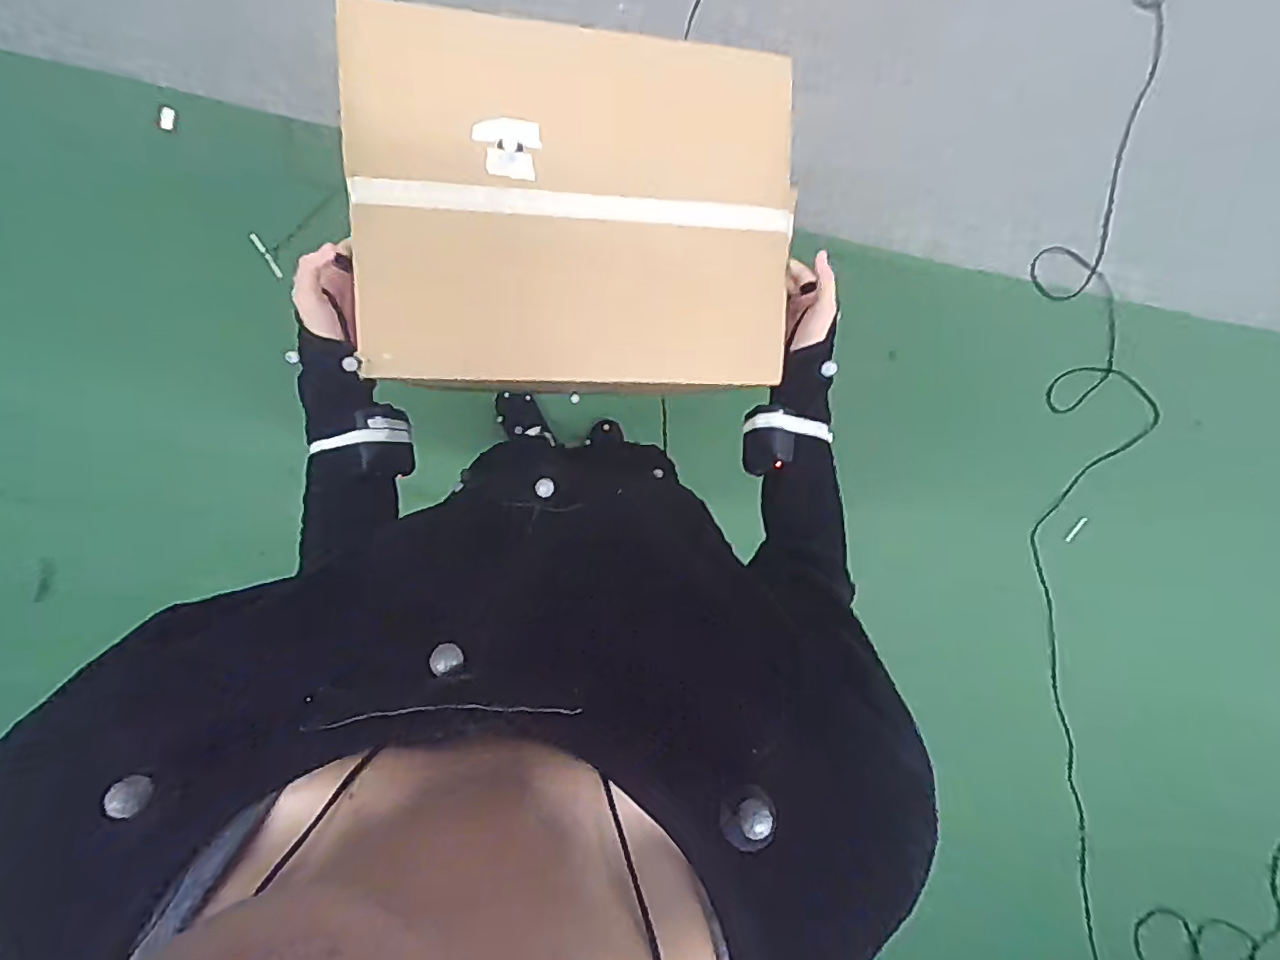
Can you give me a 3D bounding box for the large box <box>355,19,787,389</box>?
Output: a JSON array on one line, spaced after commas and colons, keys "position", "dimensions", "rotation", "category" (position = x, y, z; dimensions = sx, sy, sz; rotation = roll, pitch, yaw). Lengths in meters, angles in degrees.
[{"position": [-0.075, -0.269, 0.661], "dimensions": [0.408, 0.320, 0.320], "rotation": [0, 97, -10], "category": "large box"}]
